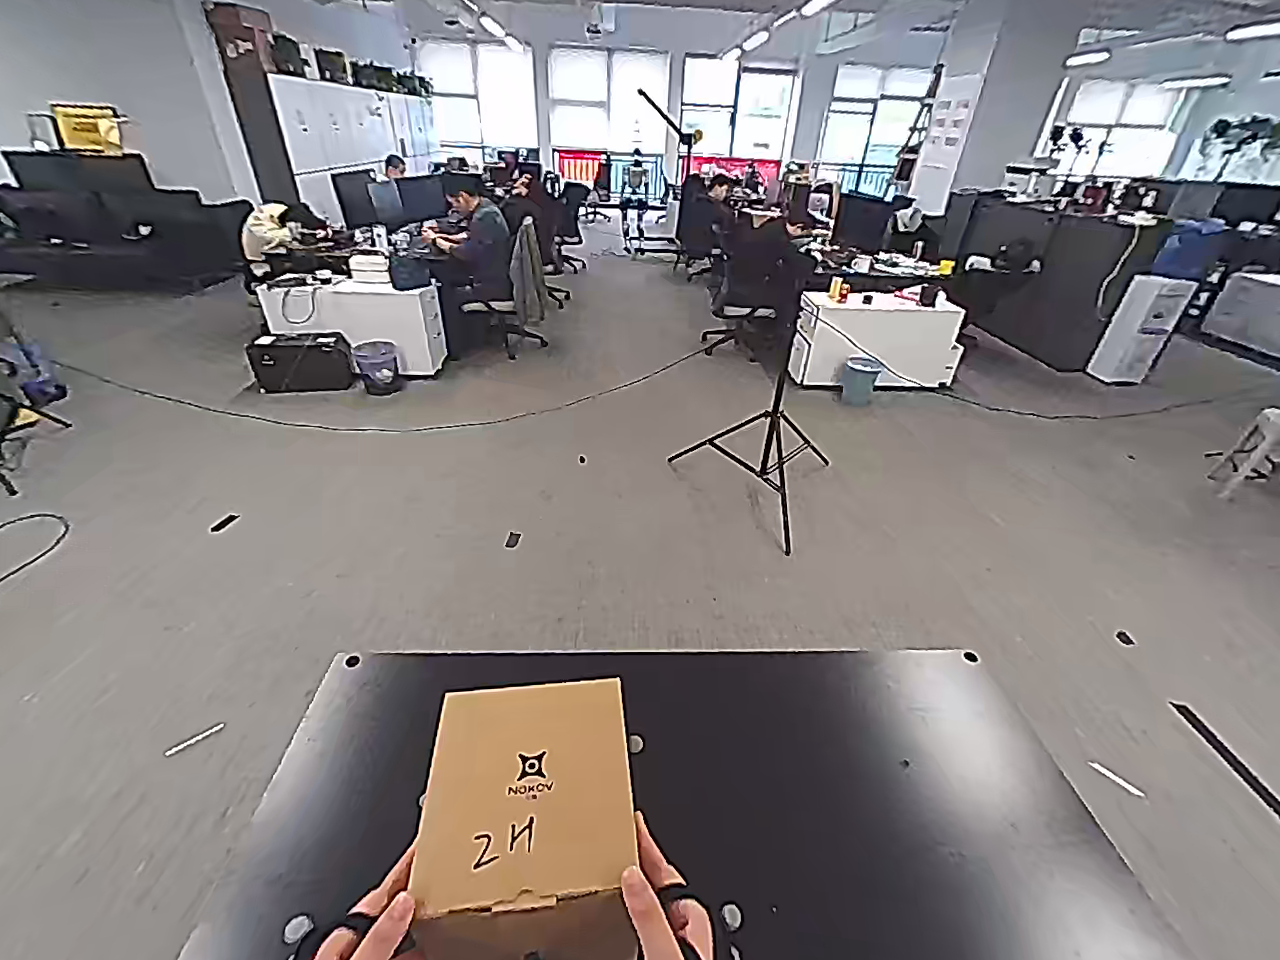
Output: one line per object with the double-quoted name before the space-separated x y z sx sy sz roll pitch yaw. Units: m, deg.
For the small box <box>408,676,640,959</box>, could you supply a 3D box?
"small box" -0.092 0.309 0.495 0.168 0.176 0.179 -3 34 -6
